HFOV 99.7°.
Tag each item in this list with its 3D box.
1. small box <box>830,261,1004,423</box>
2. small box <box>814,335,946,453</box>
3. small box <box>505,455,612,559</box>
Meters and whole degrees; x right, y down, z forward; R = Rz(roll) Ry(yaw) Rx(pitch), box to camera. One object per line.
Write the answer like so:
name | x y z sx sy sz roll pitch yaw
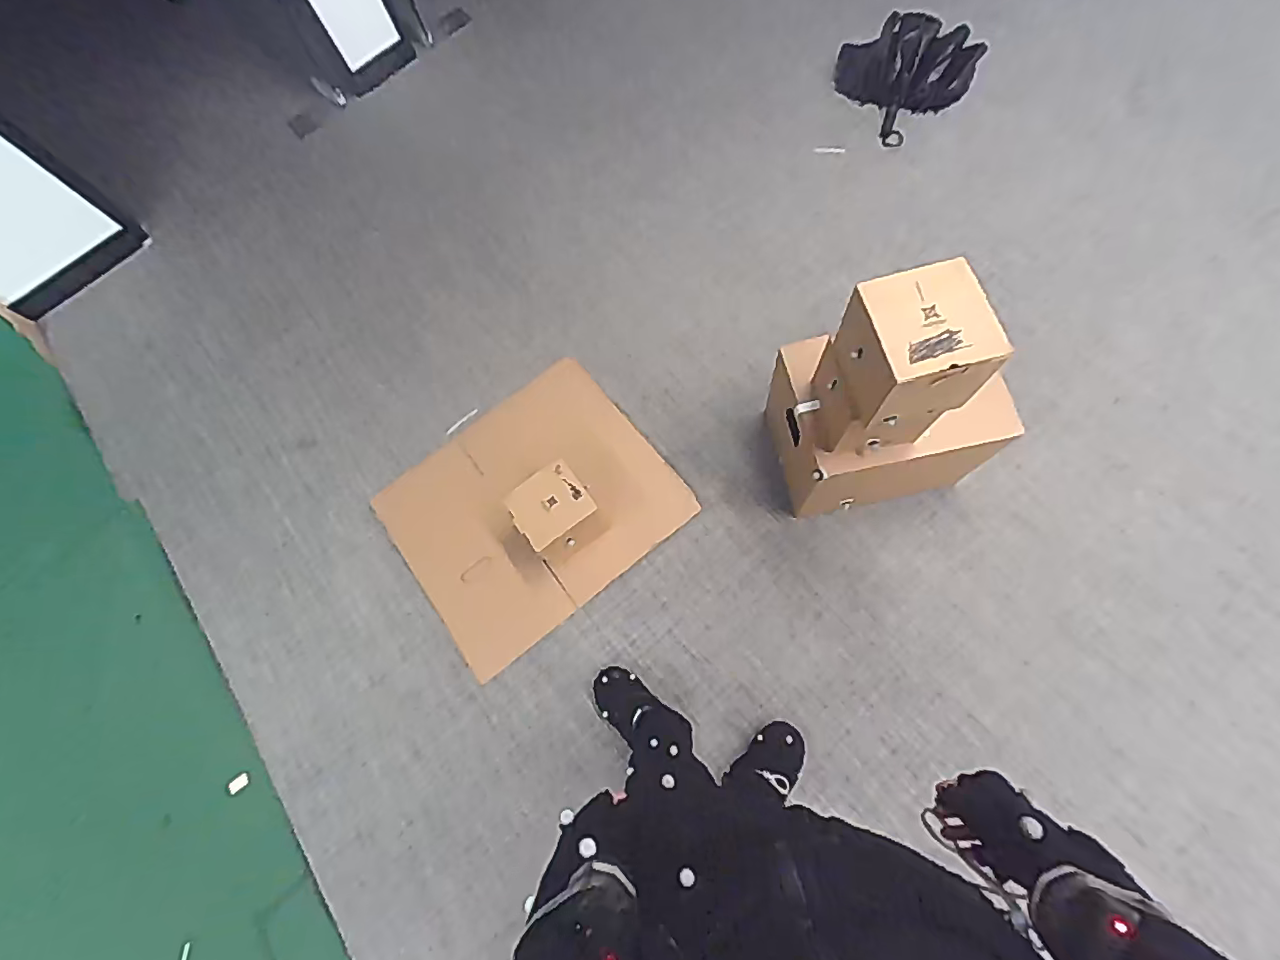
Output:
small box | 0.425 -0.205 0.863 0.168 0.176 0.179 -16 72 3
small box | 0.439 -0.169 1.023 0.168 0.176 0.179 -9 73 5
small box | -0.194 0.074 1.337 0.179 0.176 0.168 -39 69 -4
